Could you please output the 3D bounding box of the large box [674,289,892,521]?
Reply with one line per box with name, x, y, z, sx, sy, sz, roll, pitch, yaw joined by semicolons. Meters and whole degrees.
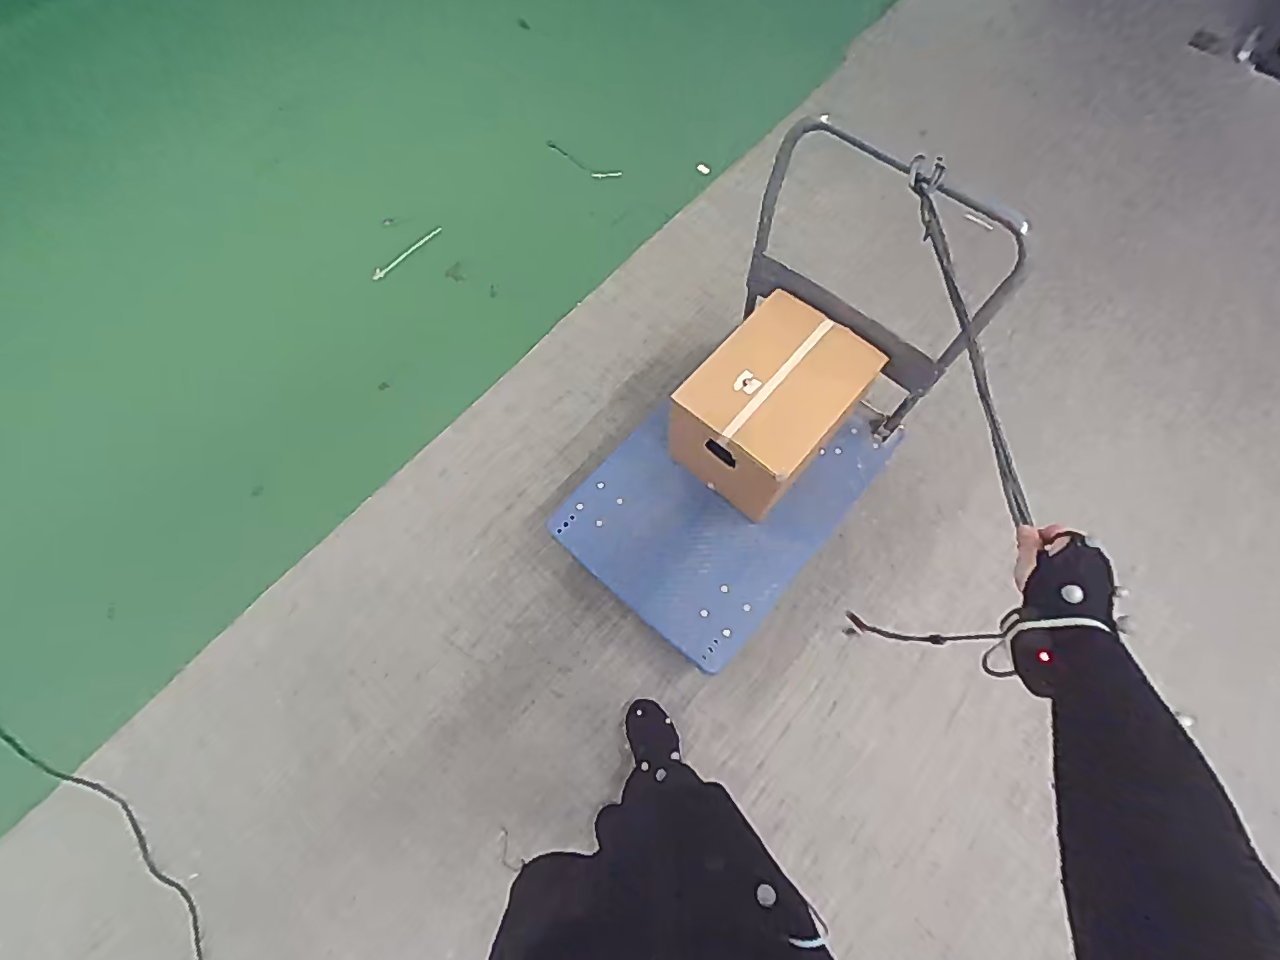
large box;0.328;-0.171;1.334;0.320;0.320;0.408;39;76;15
